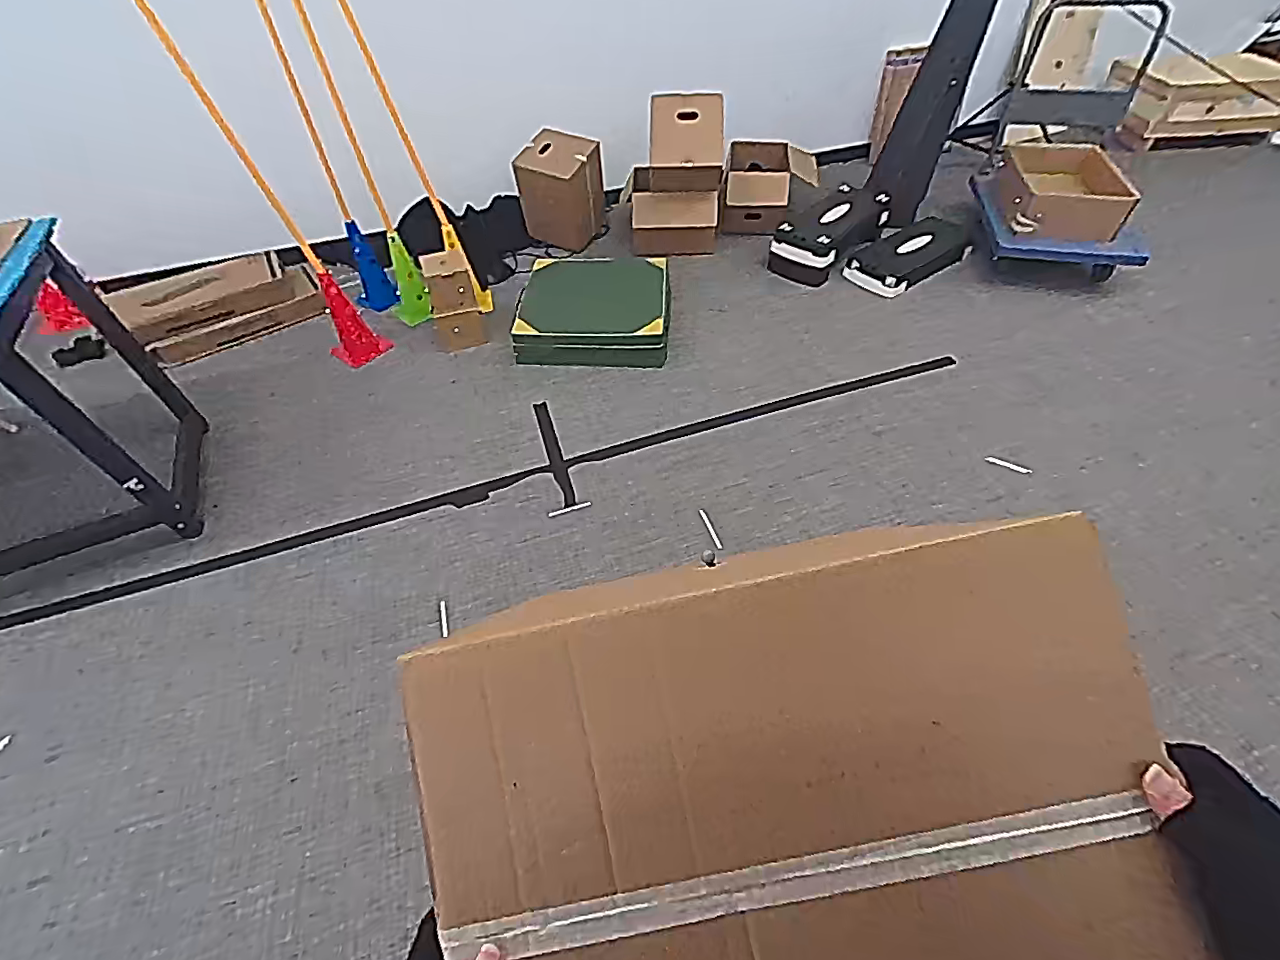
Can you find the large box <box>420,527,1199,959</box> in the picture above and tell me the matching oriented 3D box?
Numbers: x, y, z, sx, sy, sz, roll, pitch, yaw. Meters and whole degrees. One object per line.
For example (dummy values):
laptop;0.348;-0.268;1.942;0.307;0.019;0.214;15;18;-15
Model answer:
large box;0.100;0.233;0.454;0.408;0.320;0.320;-13;83;2
